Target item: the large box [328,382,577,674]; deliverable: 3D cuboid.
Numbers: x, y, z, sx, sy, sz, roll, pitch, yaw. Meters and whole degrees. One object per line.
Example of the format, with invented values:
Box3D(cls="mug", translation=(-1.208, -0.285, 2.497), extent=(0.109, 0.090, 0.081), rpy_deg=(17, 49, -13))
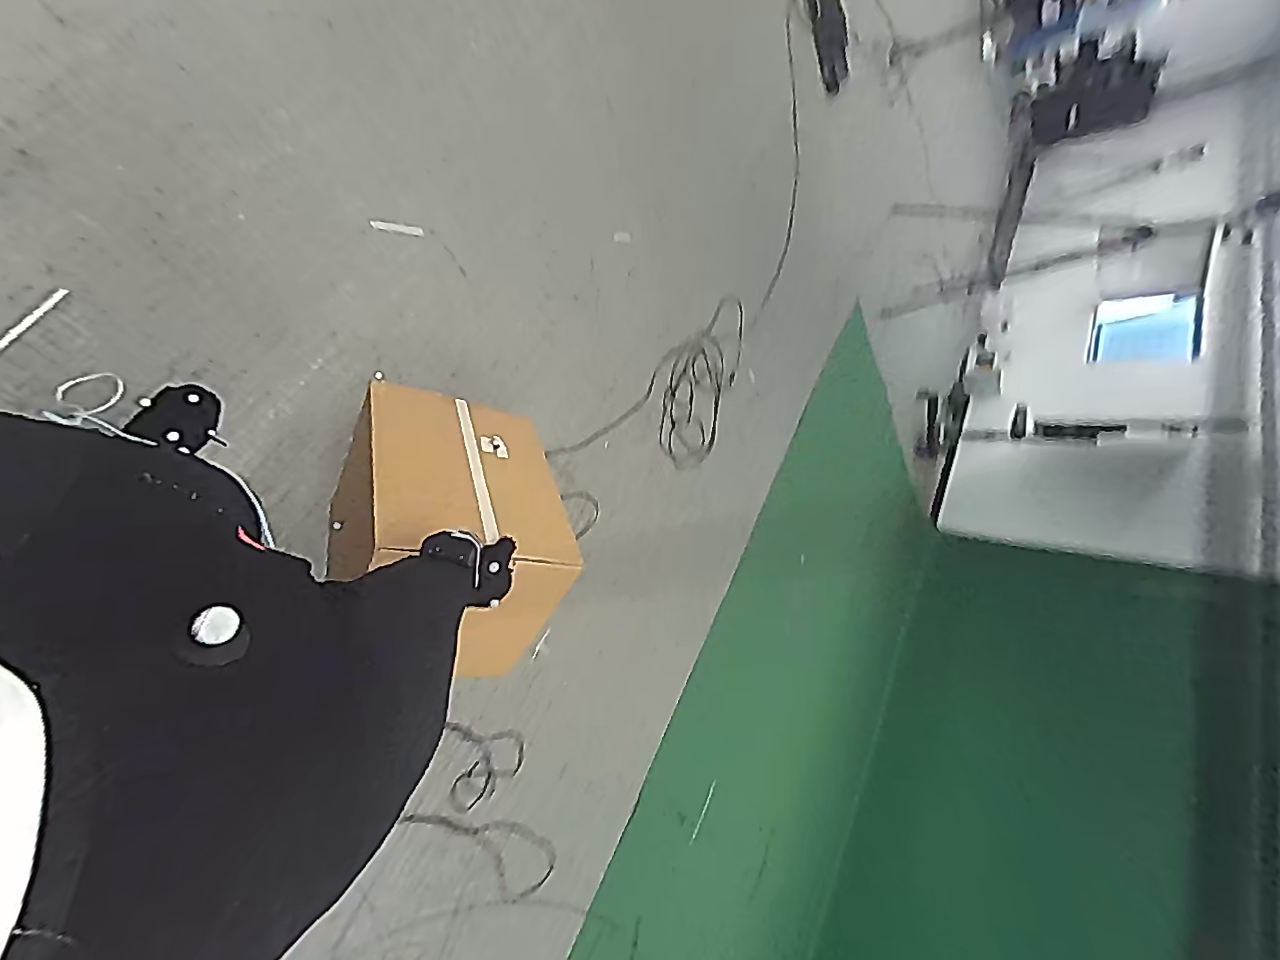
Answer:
Box3D(cls="large box", translation=(-0.363, 0.090, 0.988), extent=(0.320, 0.408, 0.320), rpy_deg=(14, 124, -36))
